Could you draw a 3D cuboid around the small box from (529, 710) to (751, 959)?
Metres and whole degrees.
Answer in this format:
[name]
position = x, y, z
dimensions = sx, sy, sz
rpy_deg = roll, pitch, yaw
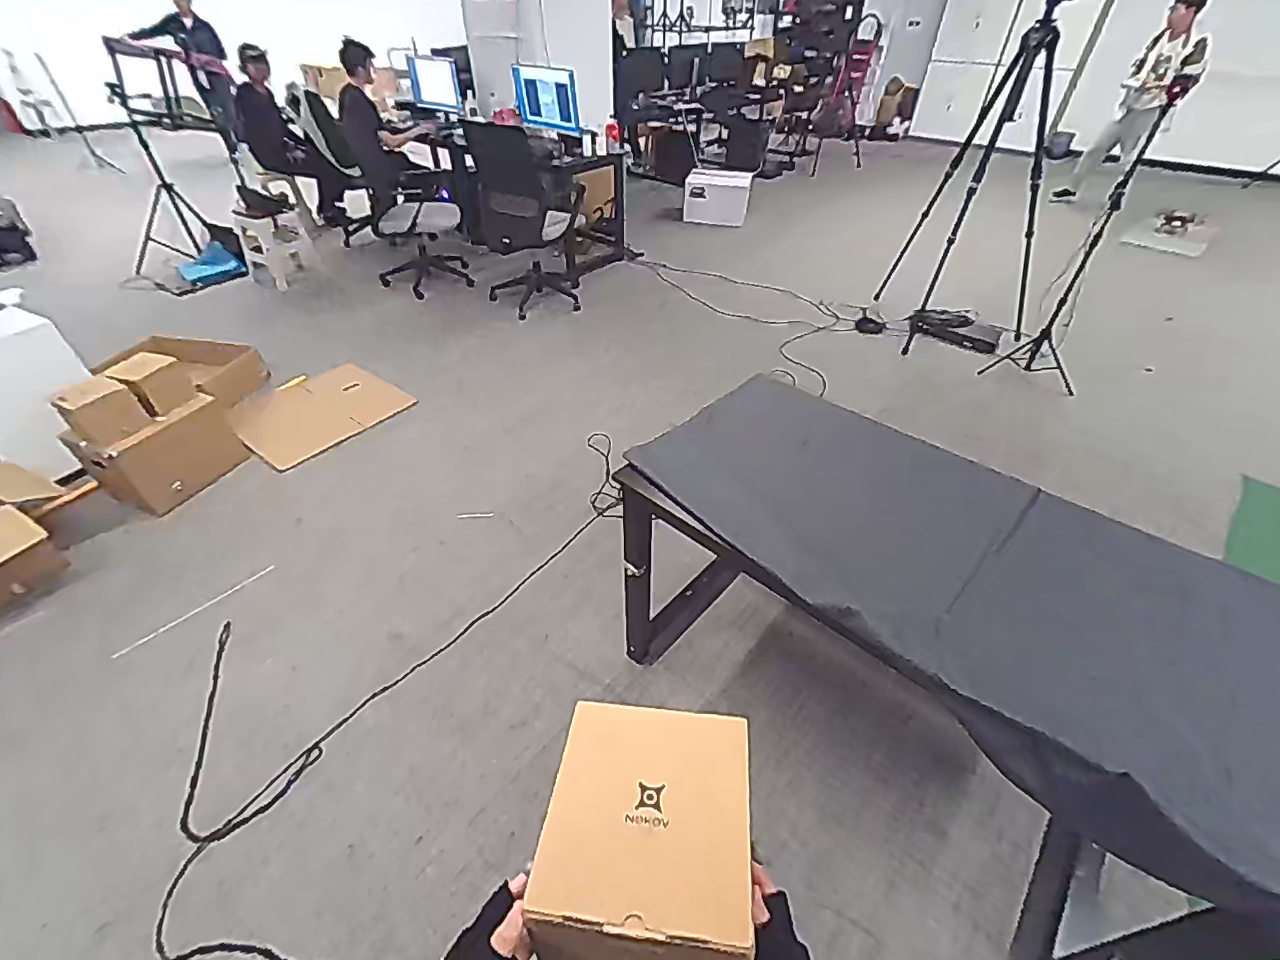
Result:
[small box]
position = 0.010, 0.347, 0.499
dimensions = 0.168, 0.176, 0.179
rpy_deg = 3, 34, 8
